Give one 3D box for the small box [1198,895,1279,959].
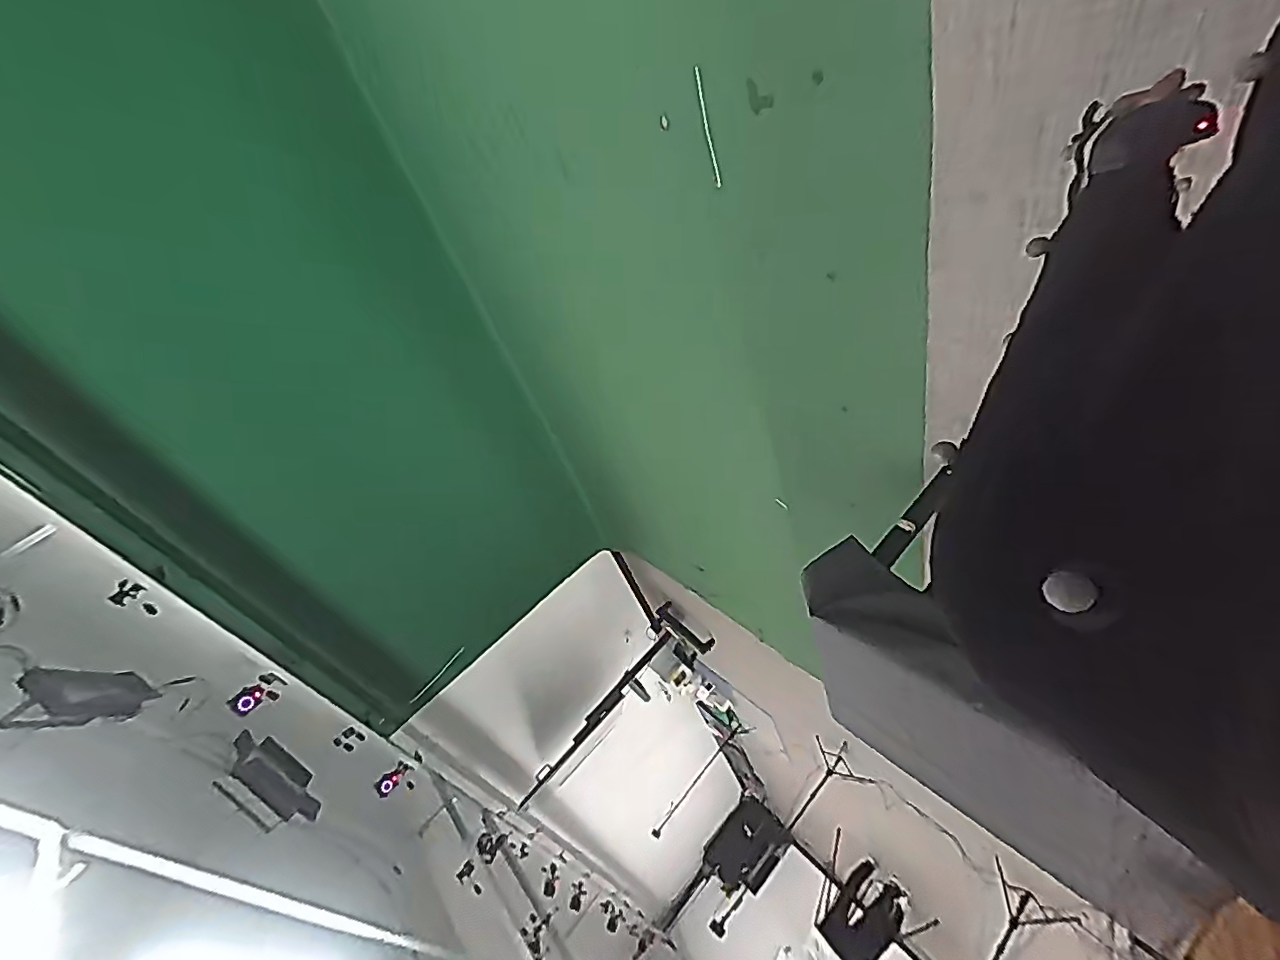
[{"bbox_3d":[1.041,0.838,0.882,0.168,0.176,0.179,24,148,49],"label":"small box"}]
